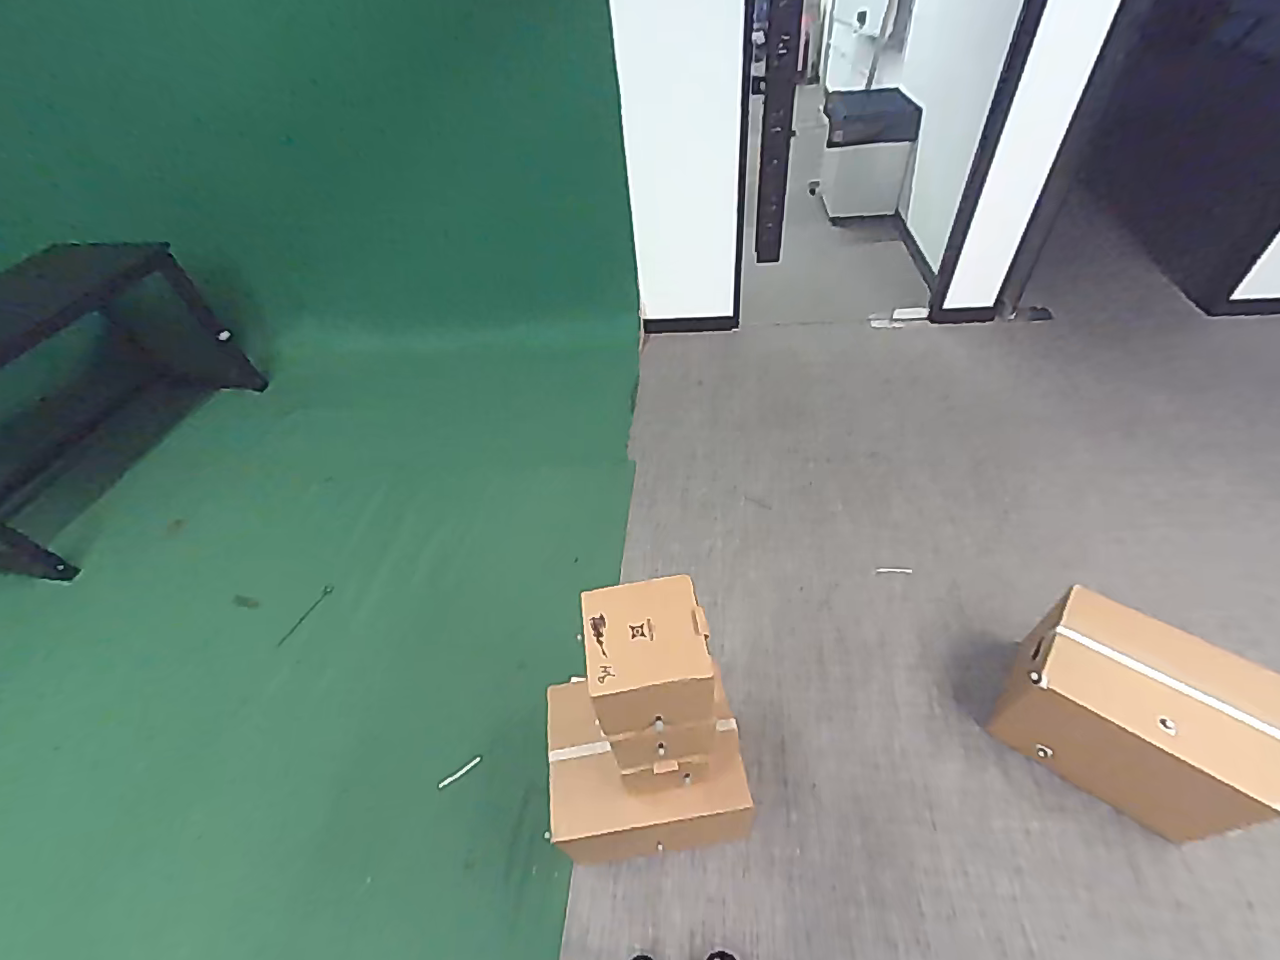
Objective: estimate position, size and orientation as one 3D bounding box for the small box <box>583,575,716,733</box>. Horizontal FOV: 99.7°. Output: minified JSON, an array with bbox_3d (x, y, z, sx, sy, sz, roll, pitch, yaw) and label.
[{"bbox_3d":[0.012,0.270,0.835,0.179,0.176,0.168,-8,46,-2],"label":"small box"}]

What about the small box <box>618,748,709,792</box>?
[{"bbox_3d":[0.041,0.499,1.068,0.168,0.176,0.179,-9,46,-1],"label":"small box"}]

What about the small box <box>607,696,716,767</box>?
[{"bbox_3d":[0.030,0.384,0.952,0.179,0.176,0.168,-10,47,-2],"label":"small box"}]

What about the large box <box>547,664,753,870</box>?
[{"bbox_3d":[0.021,0.663,1.252,0.408,0.320,0.320,-10,45,-1],"label":"large box"}]
